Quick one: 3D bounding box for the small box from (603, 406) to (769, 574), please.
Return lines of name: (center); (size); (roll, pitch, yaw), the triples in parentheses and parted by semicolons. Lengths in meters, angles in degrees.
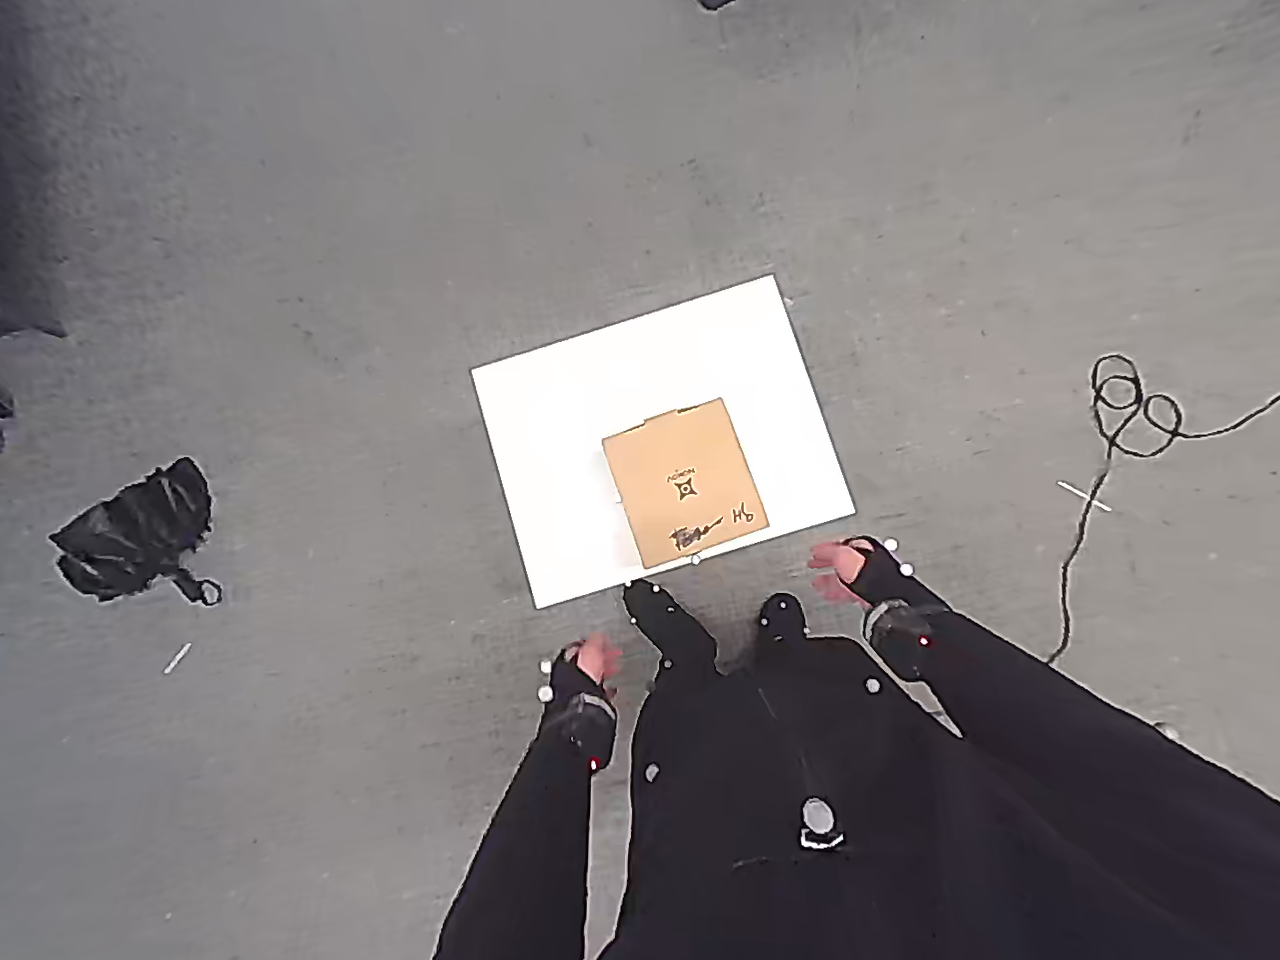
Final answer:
small box: (0.058, 0.023, 0.753); (0.168, 0.176, 0.179); (-20, 81, 1)
